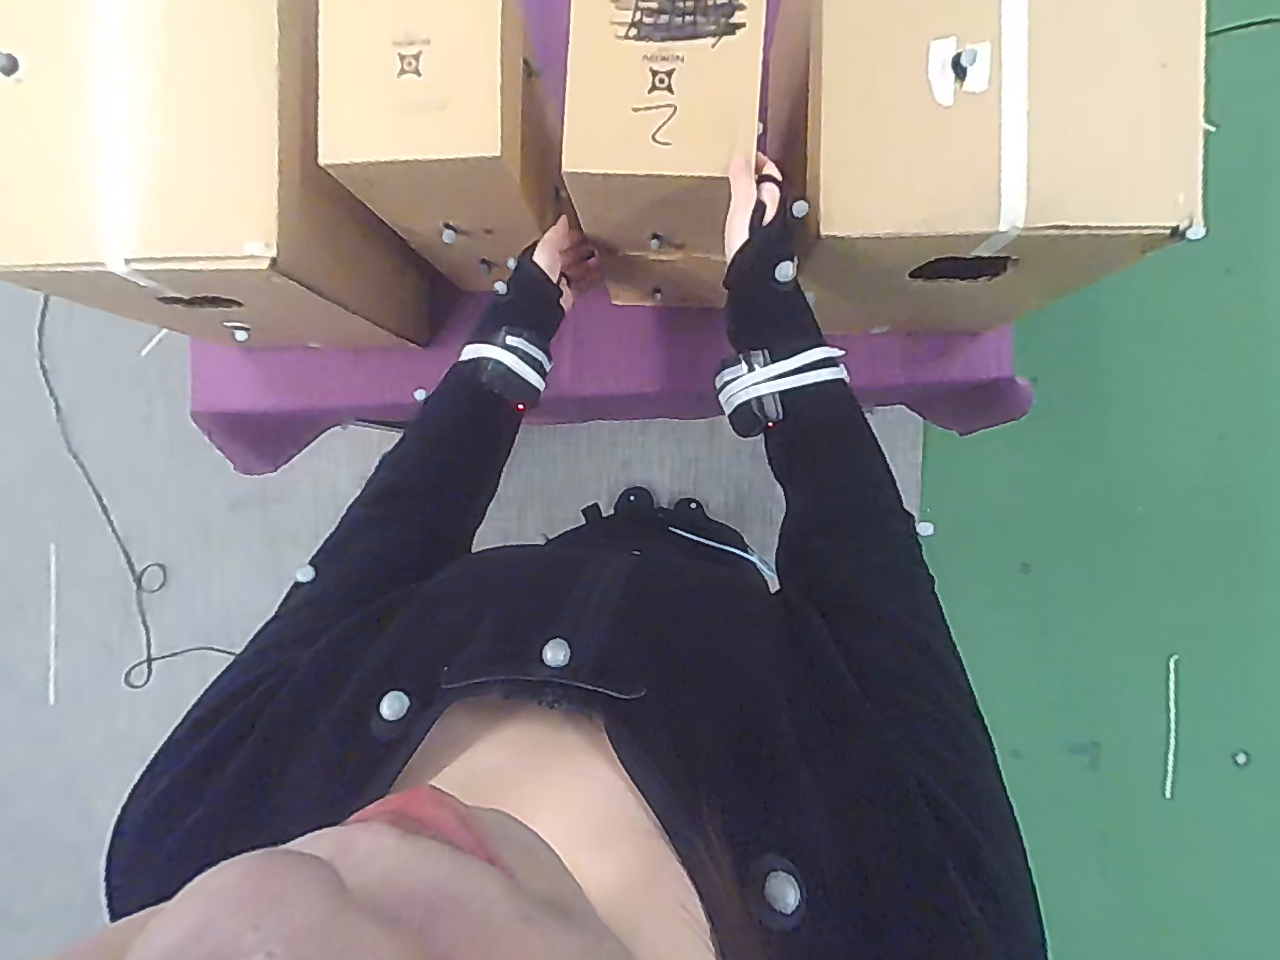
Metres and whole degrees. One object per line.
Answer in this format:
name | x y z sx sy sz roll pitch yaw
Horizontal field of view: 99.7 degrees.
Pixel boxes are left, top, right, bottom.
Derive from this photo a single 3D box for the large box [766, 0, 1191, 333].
large box | 0.329 -0.409 0.622 0.320 0.320 0.408 2 91 3
